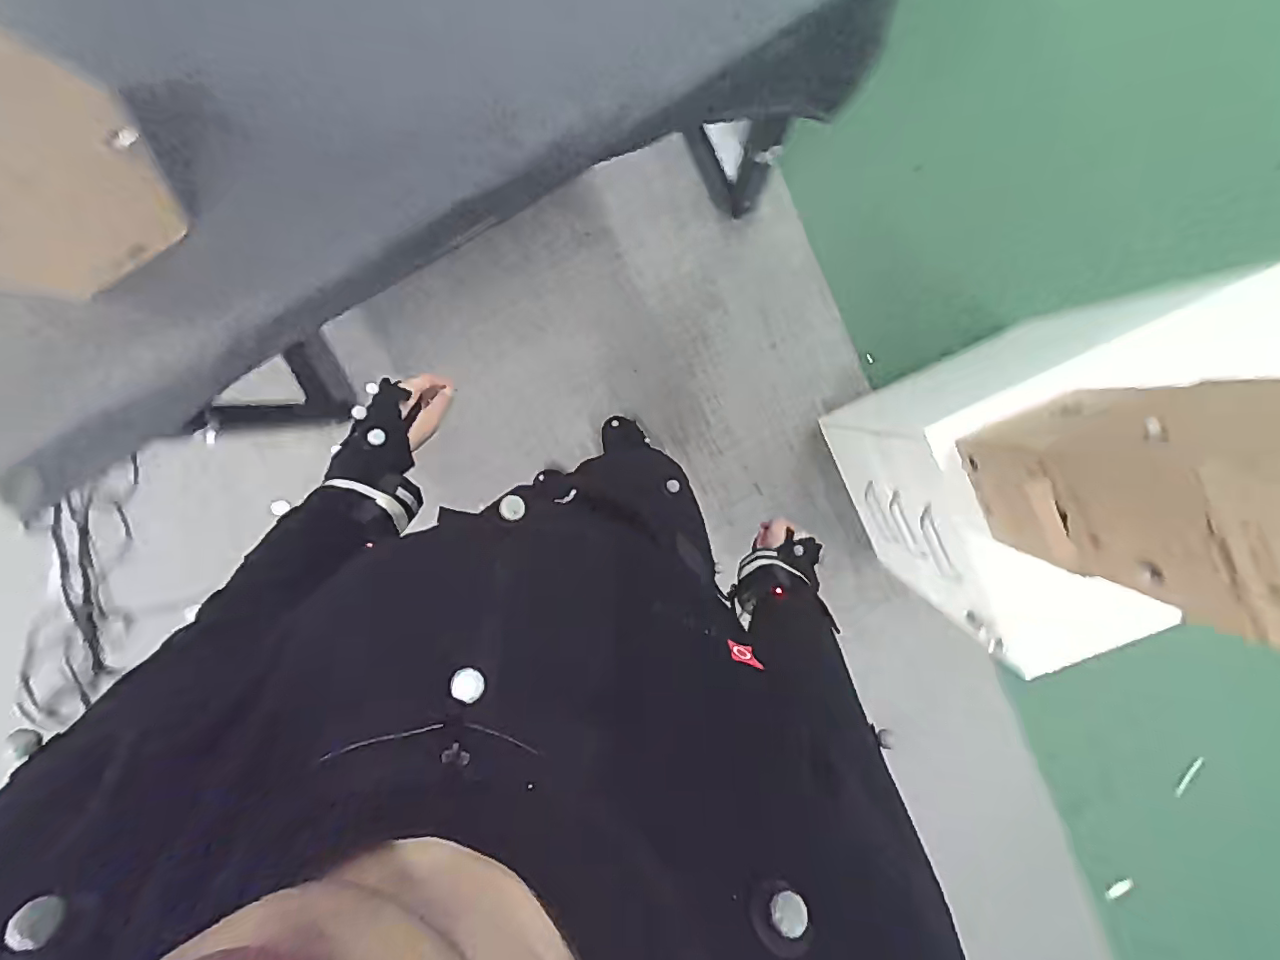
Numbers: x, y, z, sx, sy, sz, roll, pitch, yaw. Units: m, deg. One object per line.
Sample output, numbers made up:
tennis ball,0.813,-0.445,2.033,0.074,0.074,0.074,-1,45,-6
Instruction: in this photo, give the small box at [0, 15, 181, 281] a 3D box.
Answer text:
small box,-0.627,-0.326,0.533,0.168,0.176,0.179,-26,96,6

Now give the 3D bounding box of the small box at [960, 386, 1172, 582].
small box,0.530,-0.003,0.663,0.179,0.176,0.168,-24,97,5
